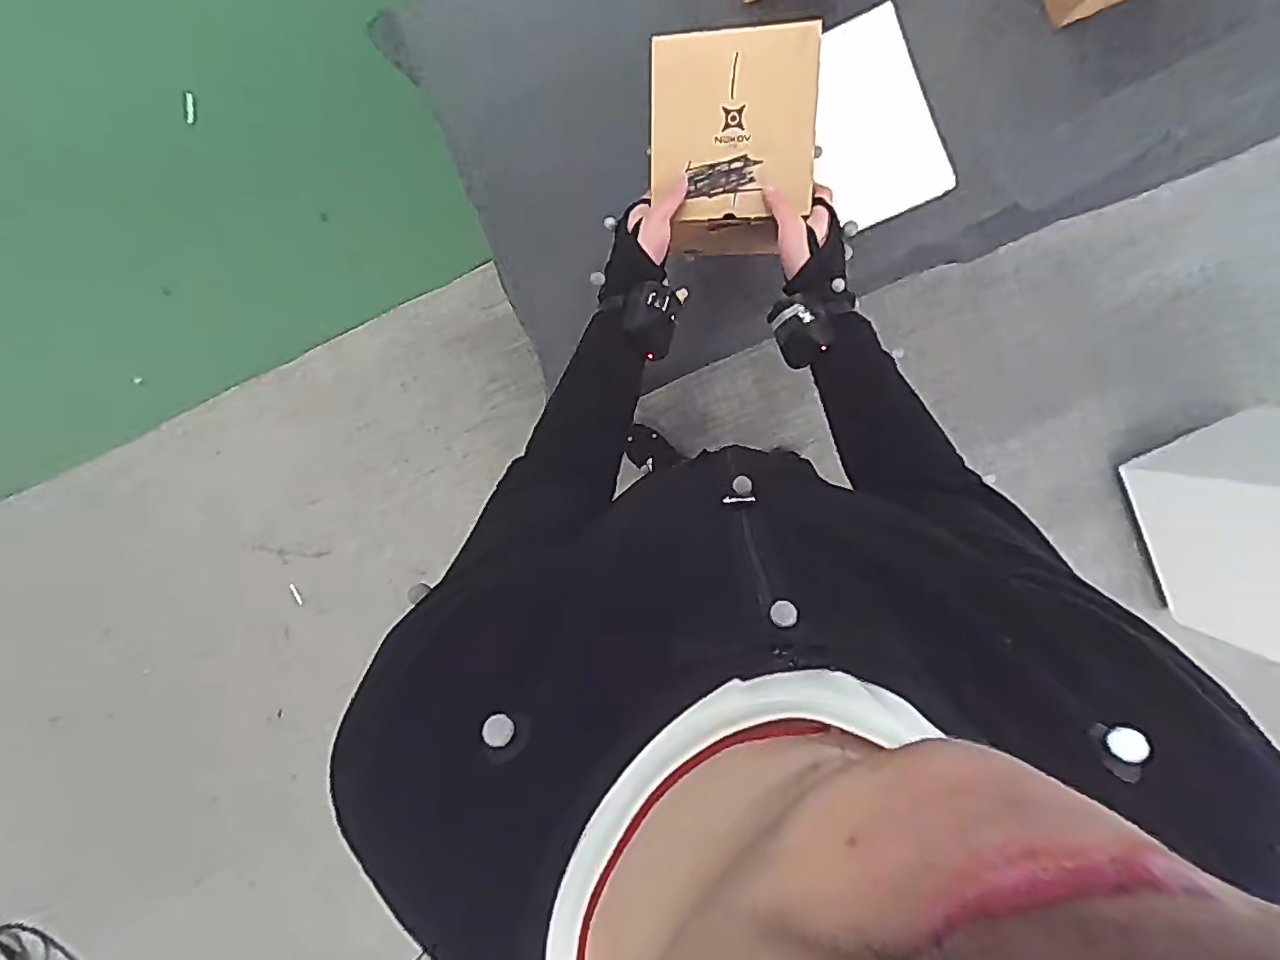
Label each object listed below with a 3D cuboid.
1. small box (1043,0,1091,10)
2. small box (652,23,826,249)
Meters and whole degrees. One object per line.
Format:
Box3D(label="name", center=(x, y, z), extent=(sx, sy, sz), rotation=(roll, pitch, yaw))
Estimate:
Box3D(label="small box", center=(0.609, -0.732, 0.659), extent=(0.168, 0.176, 0.179), rotation=(-24, 98, 3))
Box3D(label="small box", center=(0.108, -0.369, 0.619), extent=(0.168, 0.176, 0.179), rotation=(3, 102, 9))
